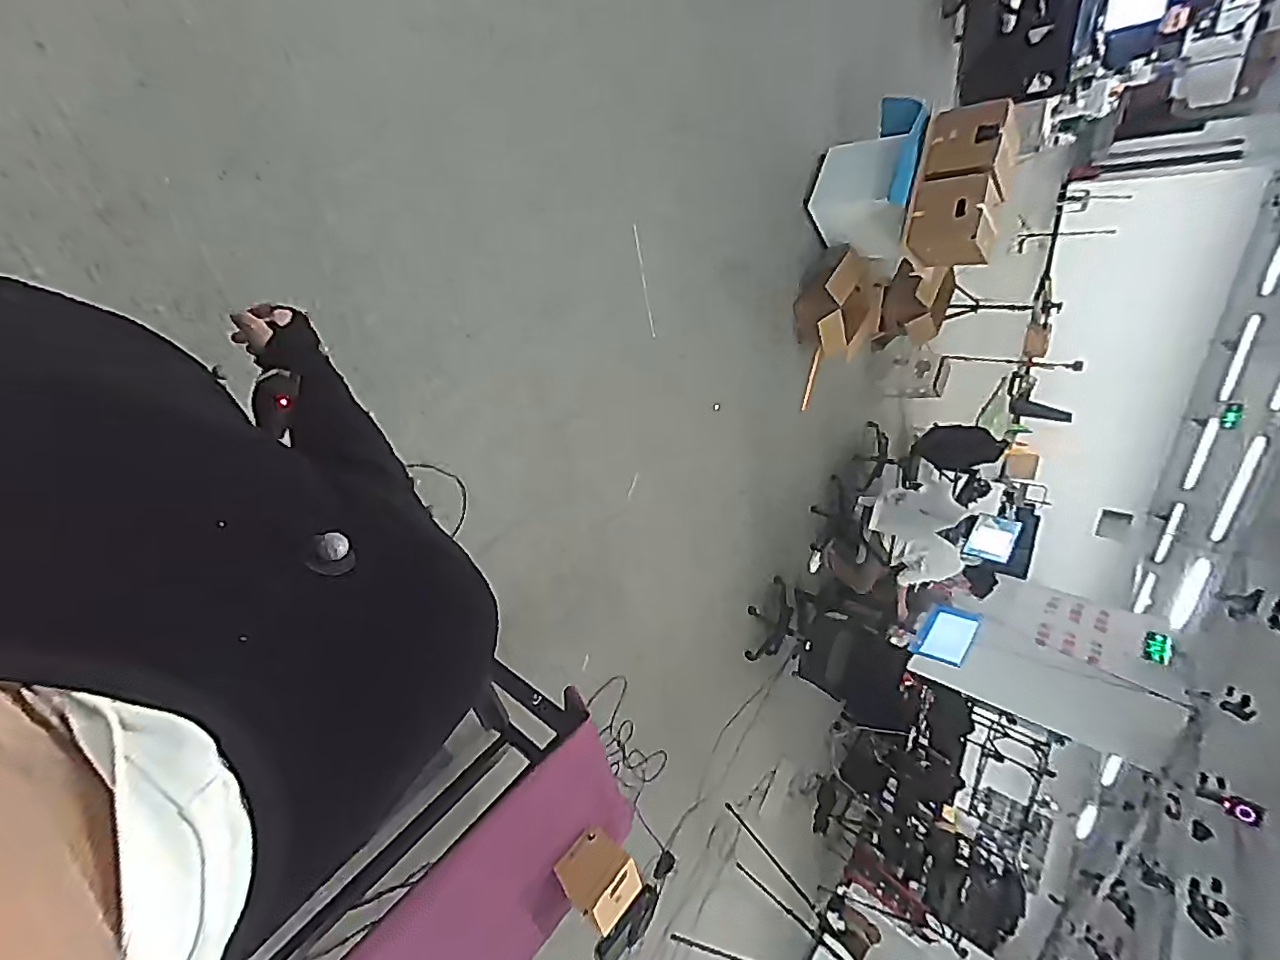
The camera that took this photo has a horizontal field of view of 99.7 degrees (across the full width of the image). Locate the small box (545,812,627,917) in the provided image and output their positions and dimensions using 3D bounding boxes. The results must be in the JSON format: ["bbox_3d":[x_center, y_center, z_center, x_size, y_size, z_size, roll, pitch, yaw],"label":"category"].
[{"bbox_3d":[-0.165,1.154,1.639,0.168,0.176,0.179,-36,129,-37],"label":"small box"}]
